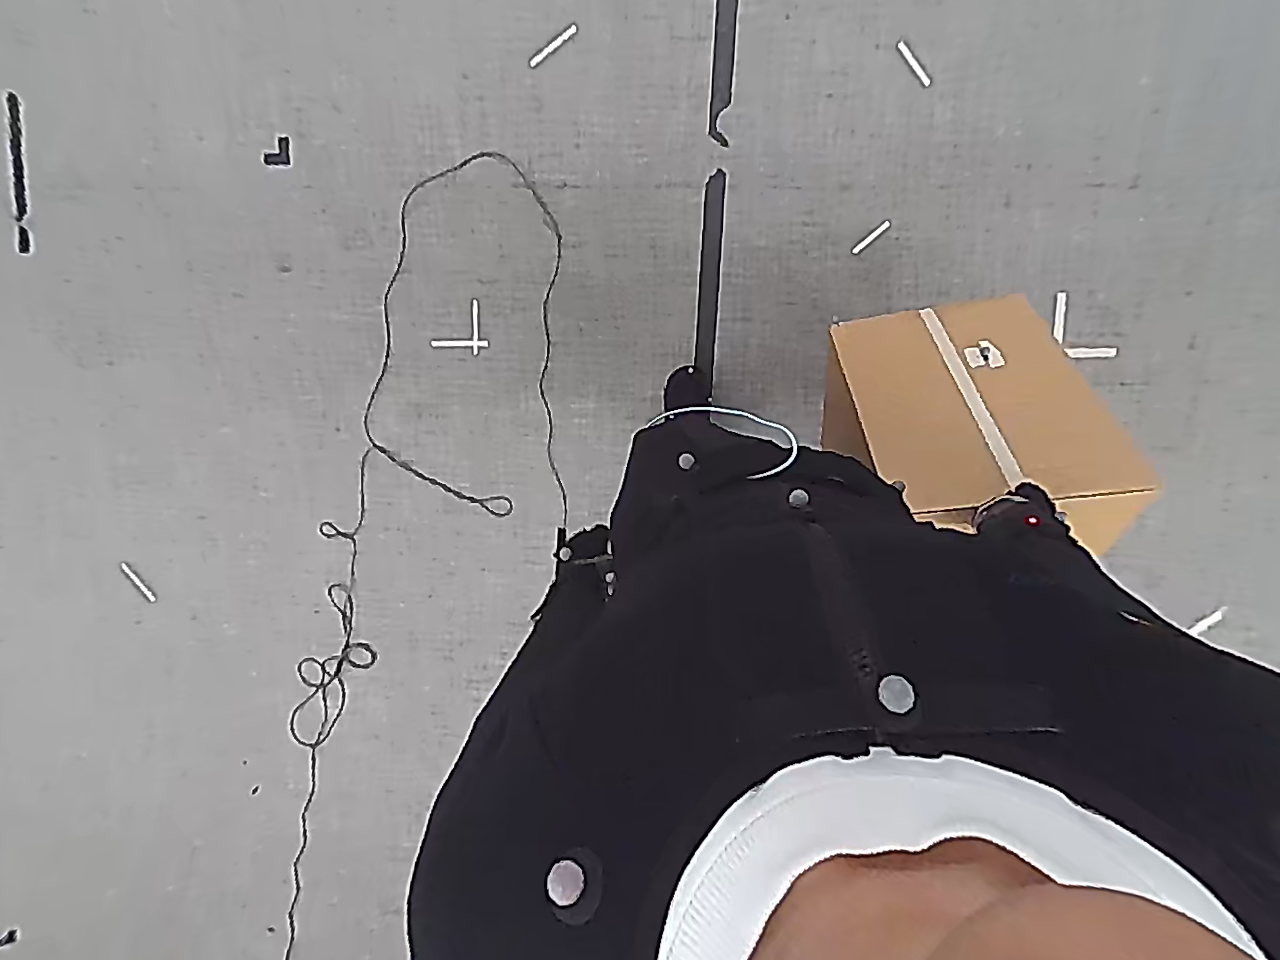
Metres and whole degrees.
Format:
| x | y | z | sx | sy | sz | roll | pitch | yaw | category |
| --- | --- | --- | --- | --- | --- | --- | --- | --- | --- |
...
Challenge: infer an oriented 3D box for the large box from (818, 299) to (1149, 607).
| x | y | z | sx | sy | sz | roll | pitch | yaw | category |
| --- | --- | --- | --- | --- | --- | --- | --- | --- | --- |
| 0.509 | -0.041 | 0.925 | 0.320 | 0.408 | 0.320 | -6 | 141 | 7 | large box |
